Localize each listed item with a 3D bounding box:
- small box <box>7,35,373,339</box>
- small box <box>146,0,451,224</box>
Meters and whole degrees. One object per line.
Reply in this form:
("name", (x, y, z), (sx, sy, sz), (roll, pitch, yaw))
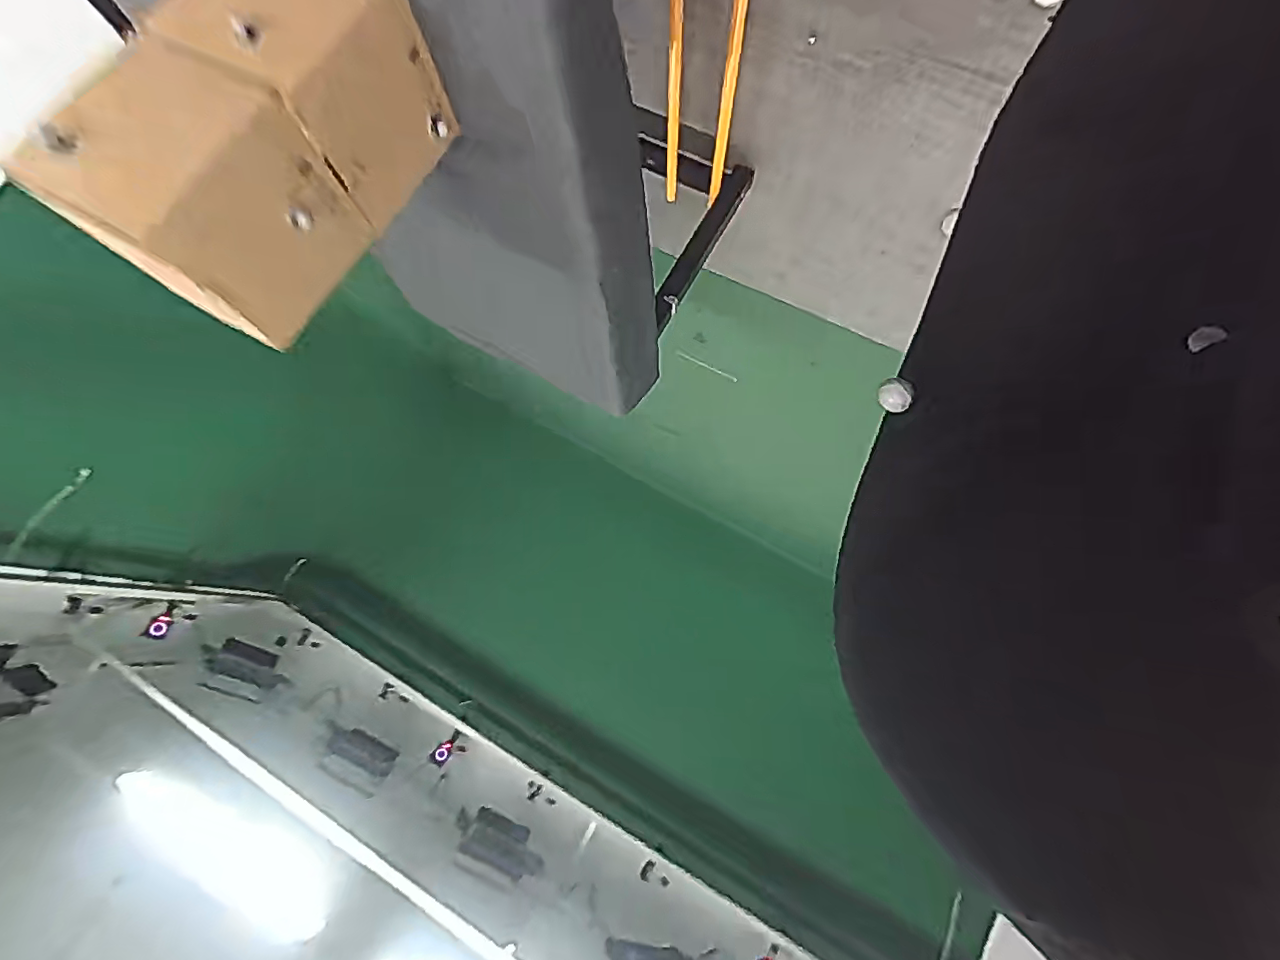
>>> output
("small box", (-0.408, -0.277, 0.524), (0.179, 0.176, 0.168), (28, 168, 12))
("small box", (-0.324, -0.415, 0.559), (0.179, 0.176, 0.168), (29, 168, 9))
